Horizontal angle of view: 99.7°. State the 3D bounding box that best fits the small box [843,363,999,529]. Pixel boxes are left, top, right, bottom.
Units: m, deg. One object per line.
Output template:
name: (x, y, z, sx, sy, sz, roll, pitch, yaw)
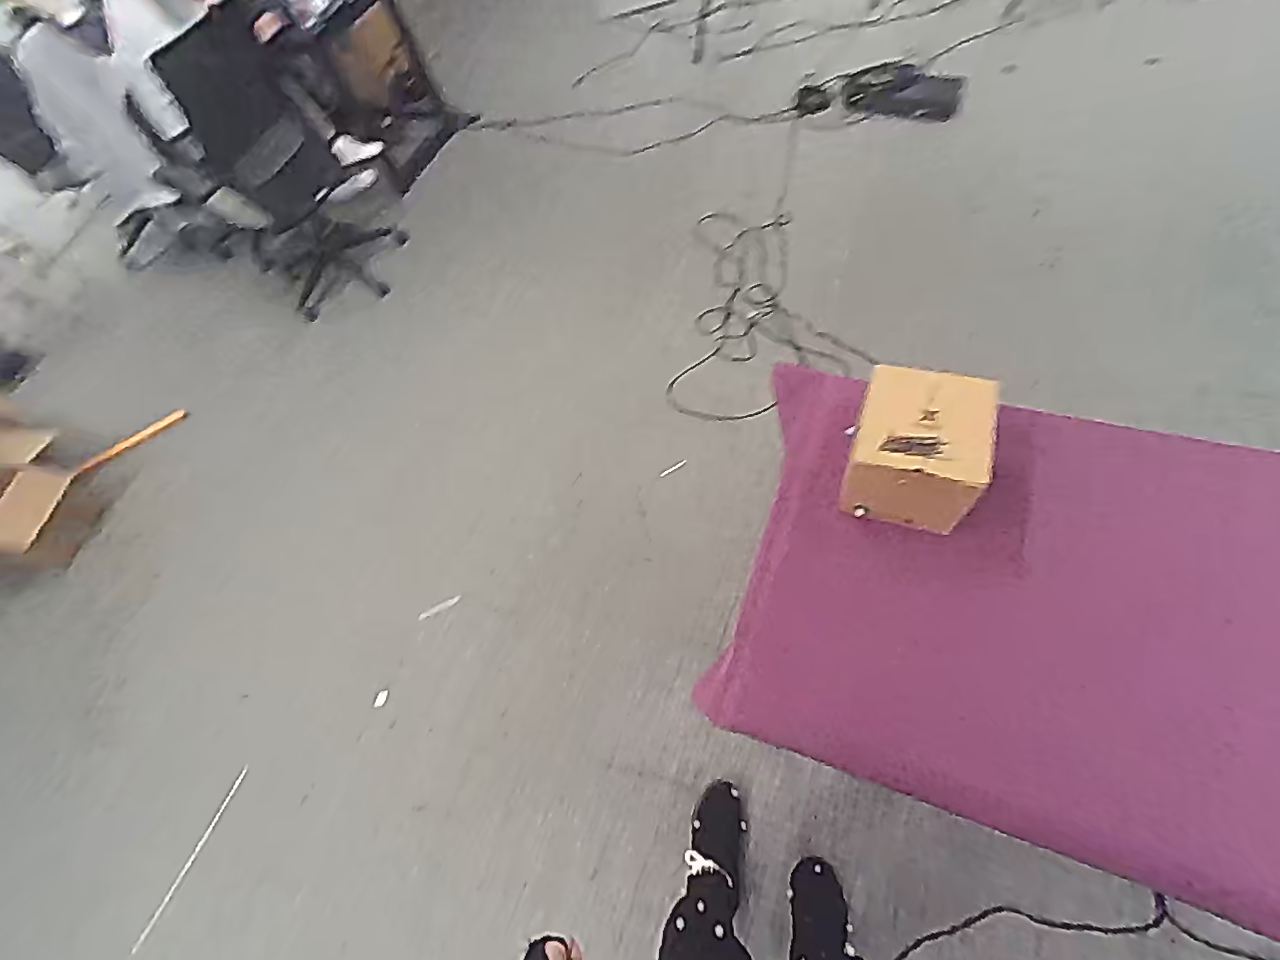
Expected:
small box: (0.416, -0.046, 0.823, 0.168, 0.176, 0.179, 14, 65, 18)
